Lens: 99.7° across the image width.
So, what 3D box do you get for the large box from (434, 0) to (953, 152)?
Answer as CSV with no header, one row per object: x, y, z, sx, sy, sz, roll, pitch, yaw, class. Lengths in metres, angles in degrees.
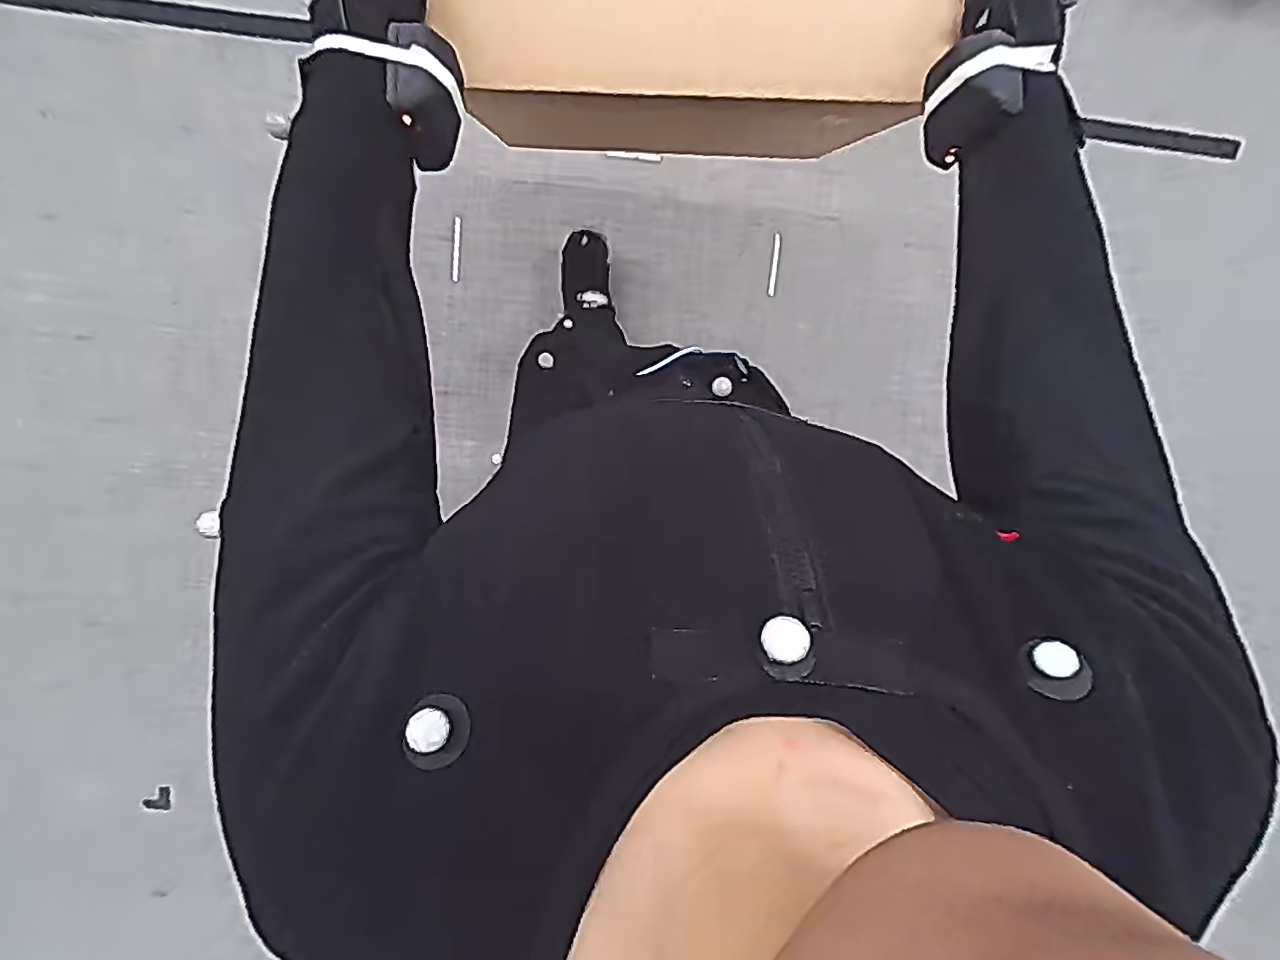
0.036,-0.511,0.507,0.408,0.320,0.320,0,114,-3,large box
